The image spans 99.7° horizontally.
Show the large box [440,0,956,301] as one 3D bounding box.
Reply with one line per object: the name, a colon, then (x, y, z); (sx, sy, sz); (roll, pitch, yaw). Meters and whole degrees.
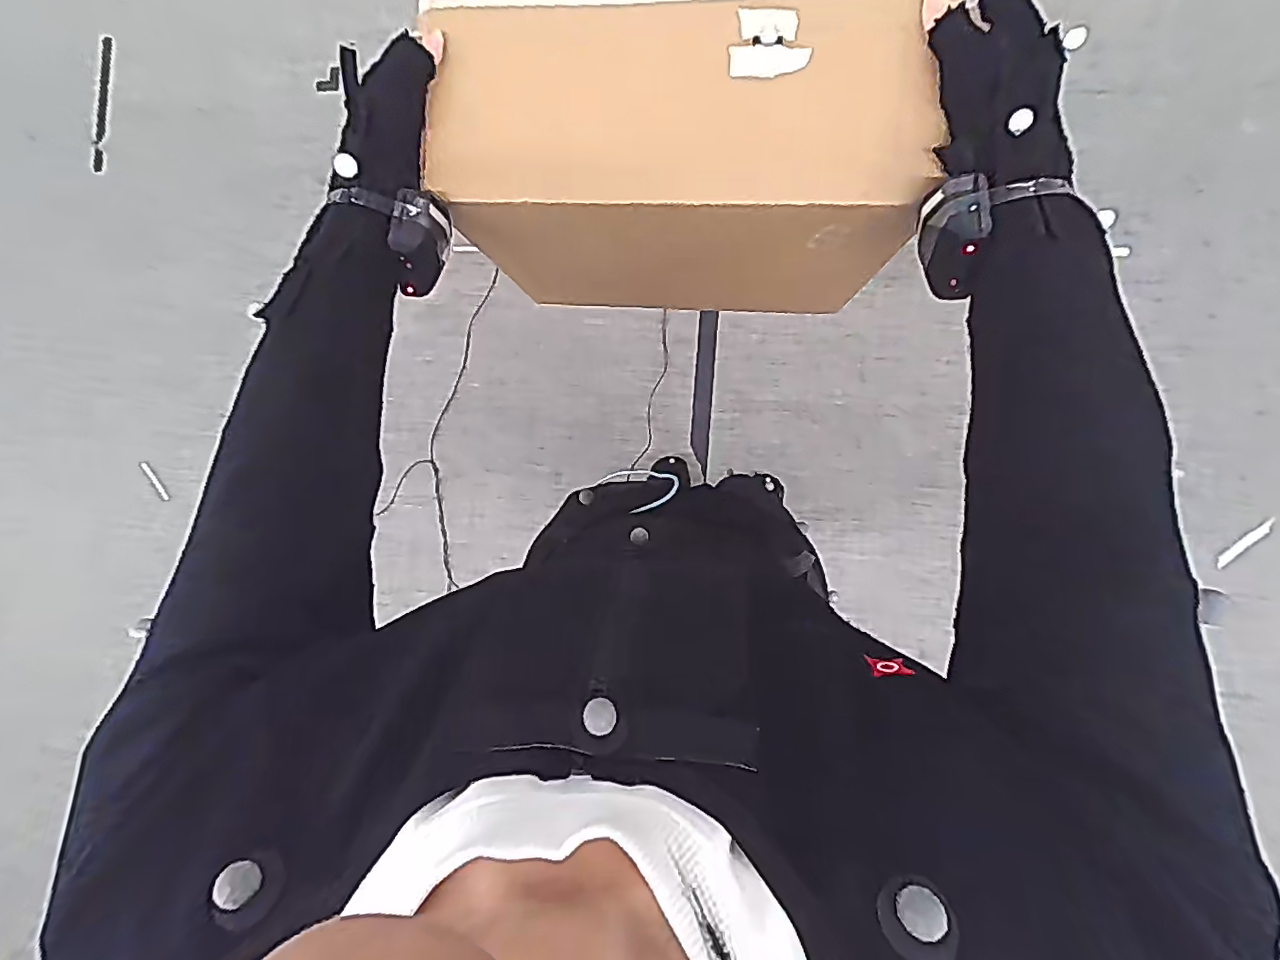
large box: (0.050, -0.383, 0.565); (0.408, 0.320, 0.320); (3, 94, 5)
